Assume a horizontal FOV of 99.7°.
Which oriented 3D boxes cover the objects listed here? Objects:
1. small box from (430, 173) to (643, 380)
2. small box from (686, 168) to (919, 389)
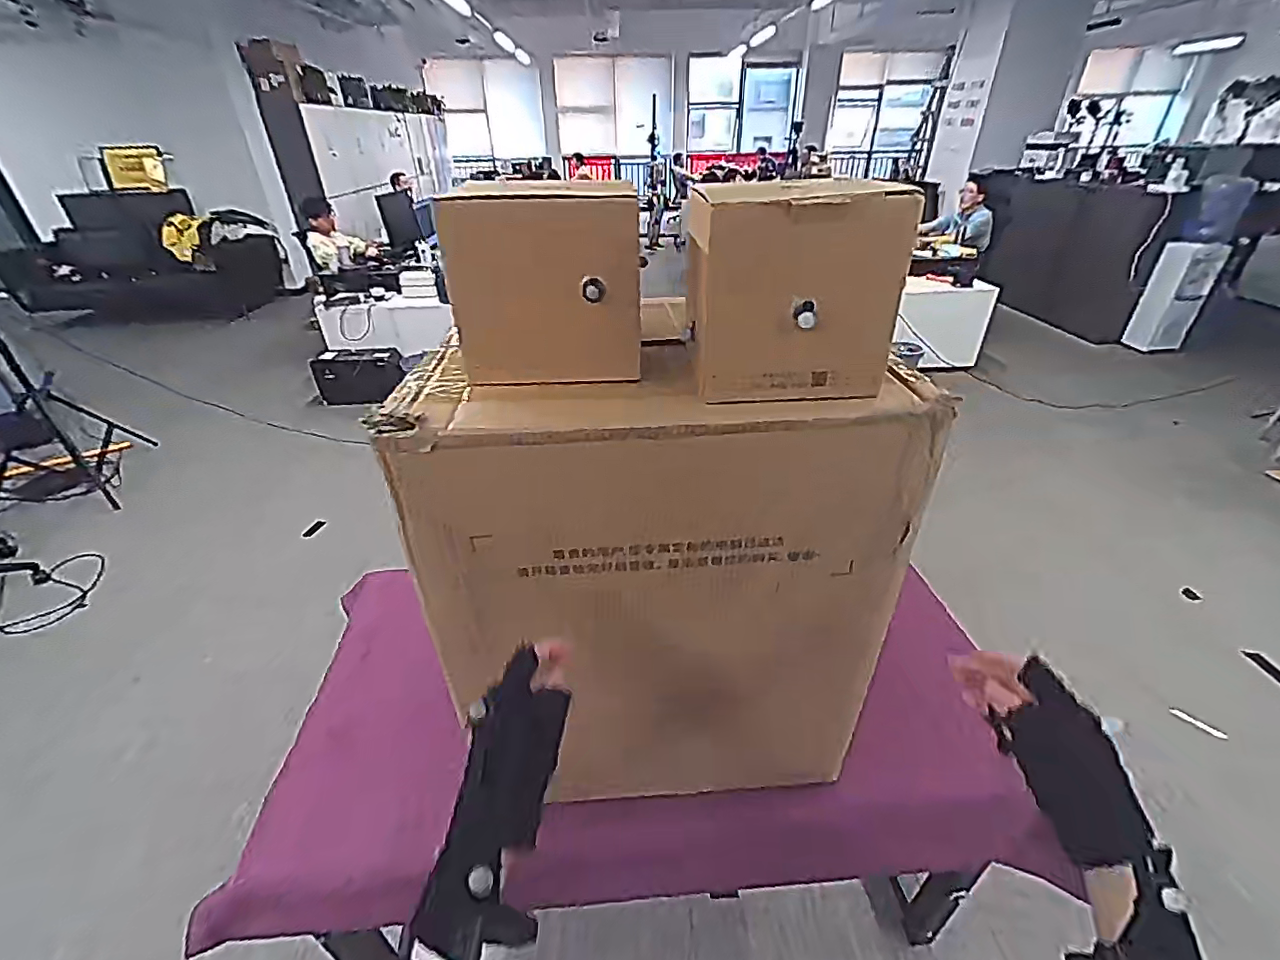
[{"bbox_3d":[-0.089,-0.211,0.554,0.179,0.176,0.168,-3,32,-3],"label":"small box"},{"bbox_3d":[0.134,-0.193,0.520,0.168,0.176,0.179,-3,33,0],"label":"small box"}]
